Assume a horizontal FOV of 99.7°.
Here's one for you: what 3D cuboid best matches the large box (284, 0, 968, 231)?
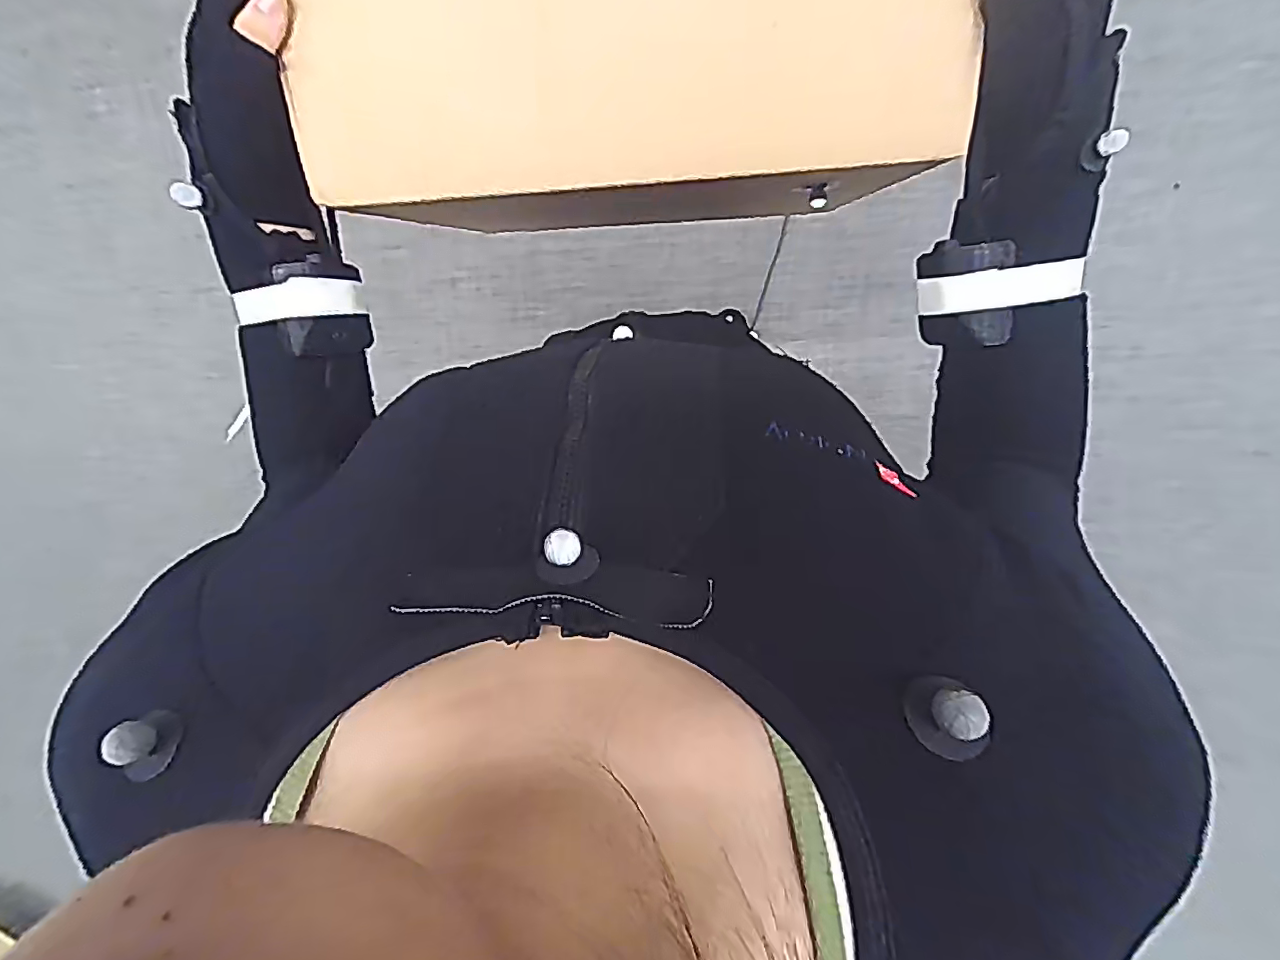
[{"bbox_3d":[-0.005,-0.387,0.430,0.408,0.320,0.320,-1,111,6],"label":"large box"}]
